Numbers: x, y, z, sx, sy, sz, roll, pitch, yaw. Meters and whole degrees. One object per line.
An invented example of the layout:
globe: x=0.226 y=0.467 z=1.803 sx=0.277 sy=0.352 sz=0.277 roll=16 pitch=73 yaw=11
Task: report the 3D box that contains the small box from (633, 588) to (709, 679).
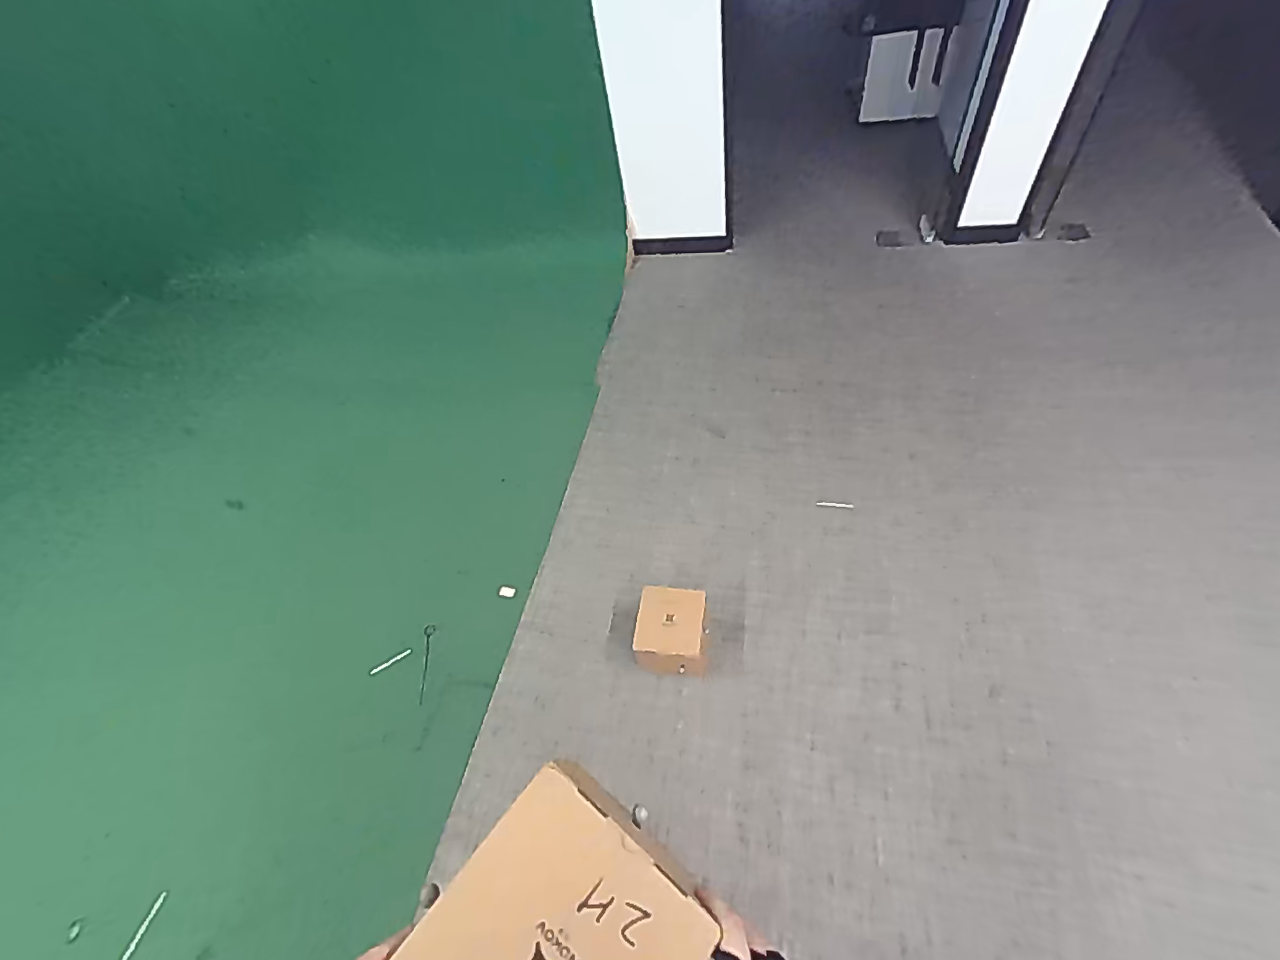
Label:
small box: x=0.089 y=0.405 z=1.416 sx=0.168 sy=0.176 sz=0.179 roll=4 pitch=53 yaw=13
